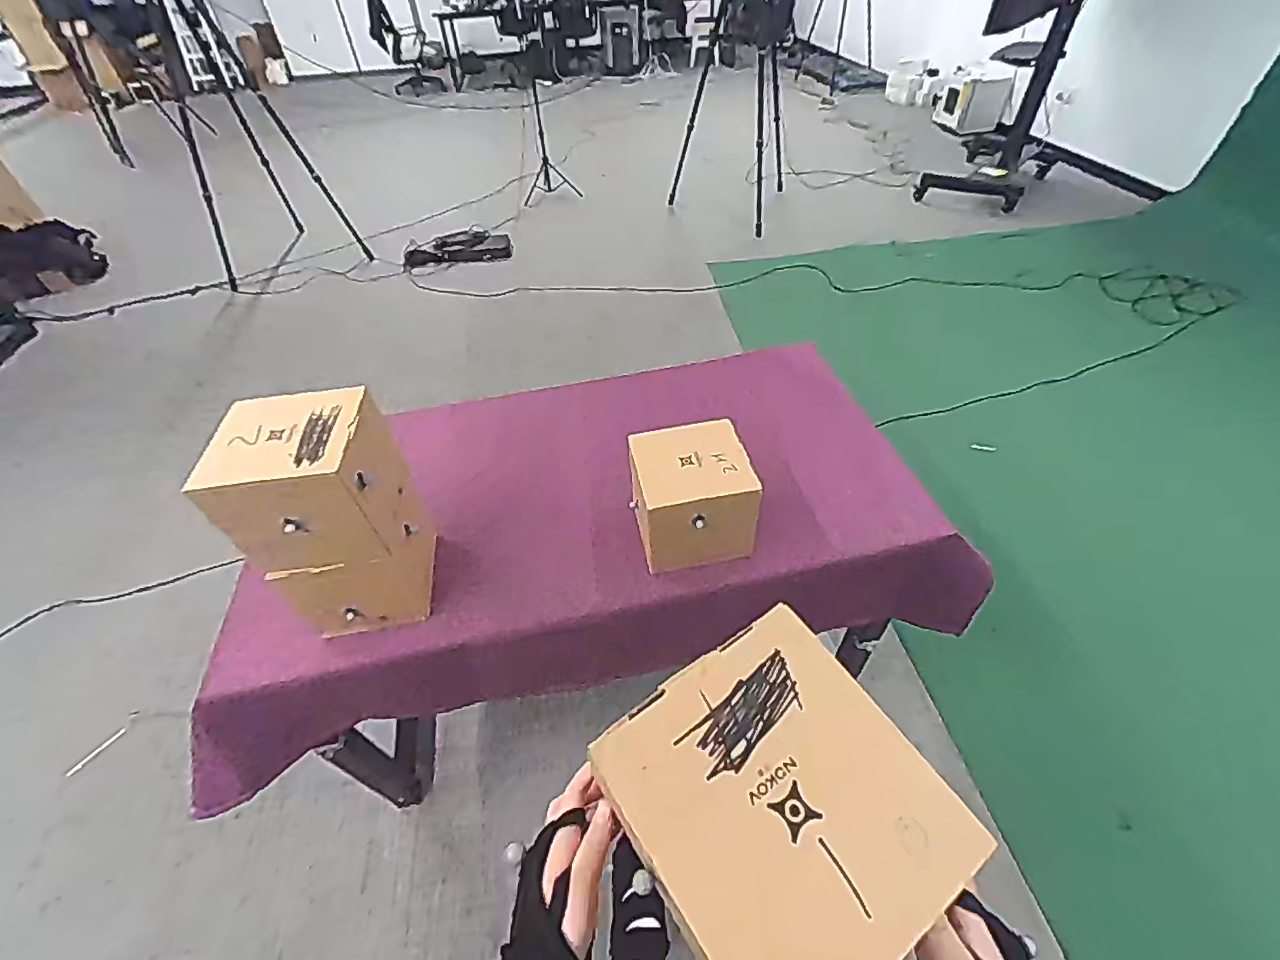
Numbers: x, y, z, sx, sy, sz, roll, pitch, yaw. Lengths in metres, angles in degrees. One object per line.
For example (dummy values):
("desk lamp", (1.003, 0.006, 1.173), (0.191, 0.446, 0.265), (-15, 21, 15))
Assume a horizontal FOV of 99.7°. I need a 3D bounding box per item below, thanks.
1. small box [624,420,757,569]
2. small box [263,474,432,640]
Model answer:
("small box", (0.078, 0.028, 0.889), (0.179, 0.176, 0.168), (-10, 47, -6))
("small box", (-0.433, 0.120, 0.837), (0.168, 0.176, 0.179), (-10, 48, -6))
